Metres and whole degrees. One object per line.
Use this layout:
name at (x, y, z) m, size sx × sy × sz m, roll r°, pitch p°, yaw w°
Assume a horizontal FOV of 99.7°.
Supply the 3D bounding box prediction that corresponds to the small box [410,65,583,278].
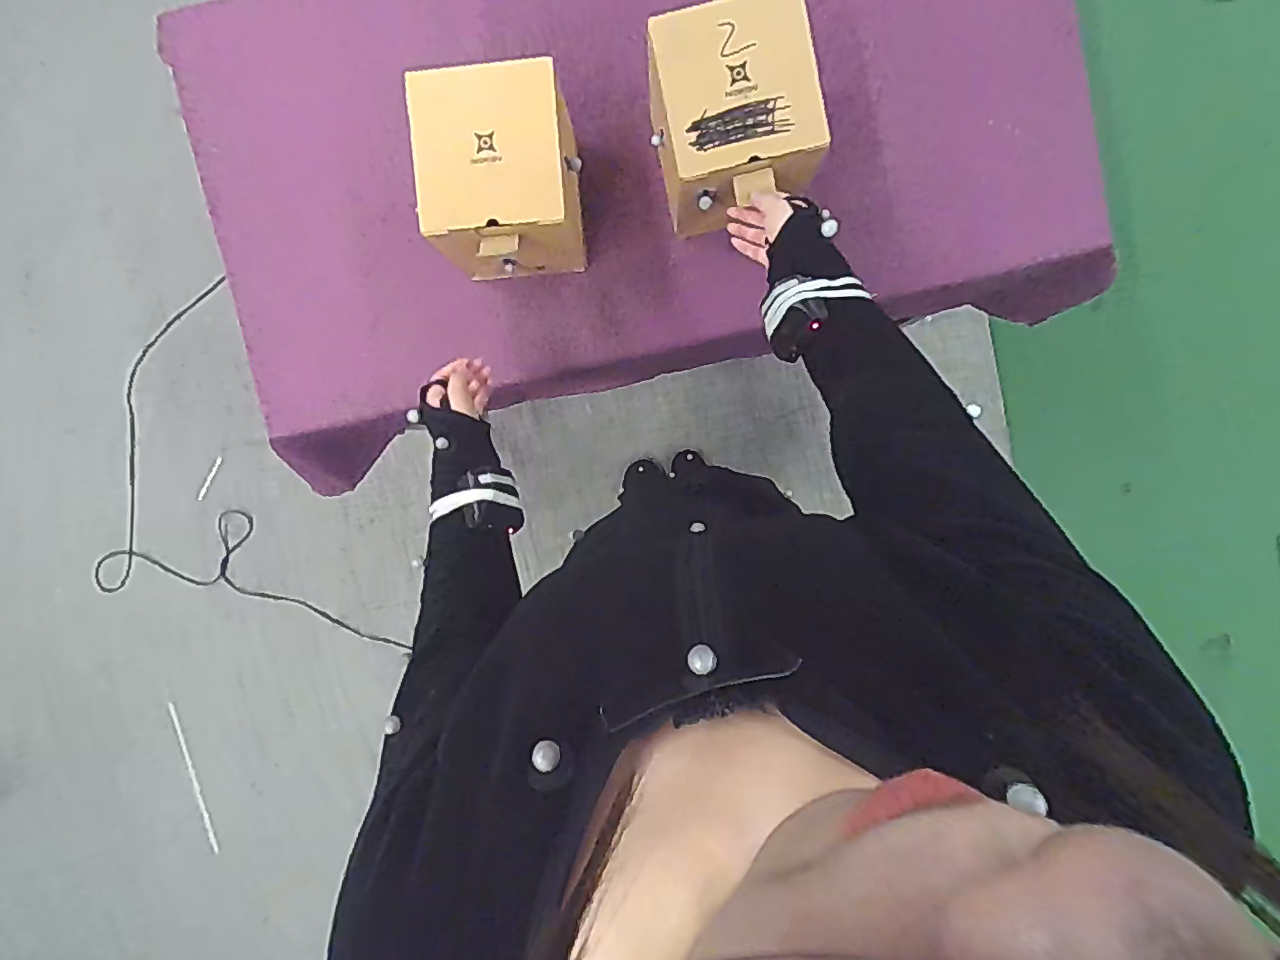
small box at (-0.170, -0.376, 0.688) m, size 0.168 × 0.176 × 0.179 m, roll -4°, pitch 95°, yaw 3°
